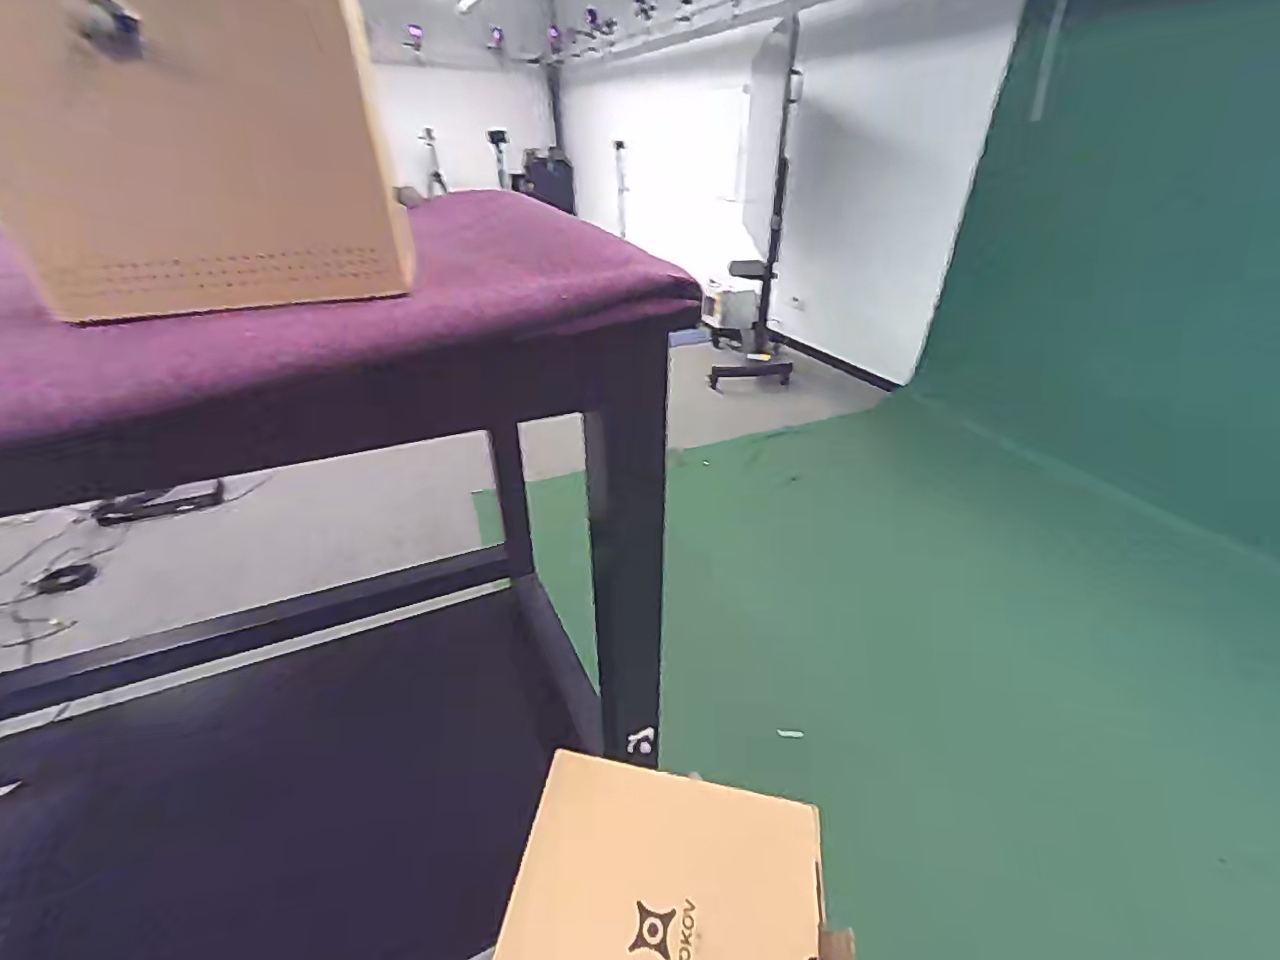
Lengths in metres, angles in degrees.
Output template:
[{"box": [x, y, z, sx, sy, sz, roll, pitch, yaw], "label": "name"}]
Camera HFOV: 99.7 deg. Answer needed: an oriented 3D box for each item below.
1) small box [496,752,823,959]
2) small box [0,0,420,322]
[{"box": [0.013, 0.311, 0.354, 0.179, 0.176, 0.168, 9, 43, 8], "label": "small box"}, {"box": [-0.246, -0.201, 0.330, 0.179, 0.176, 0.168, -11, 32, -16], "label": "small box"}]
